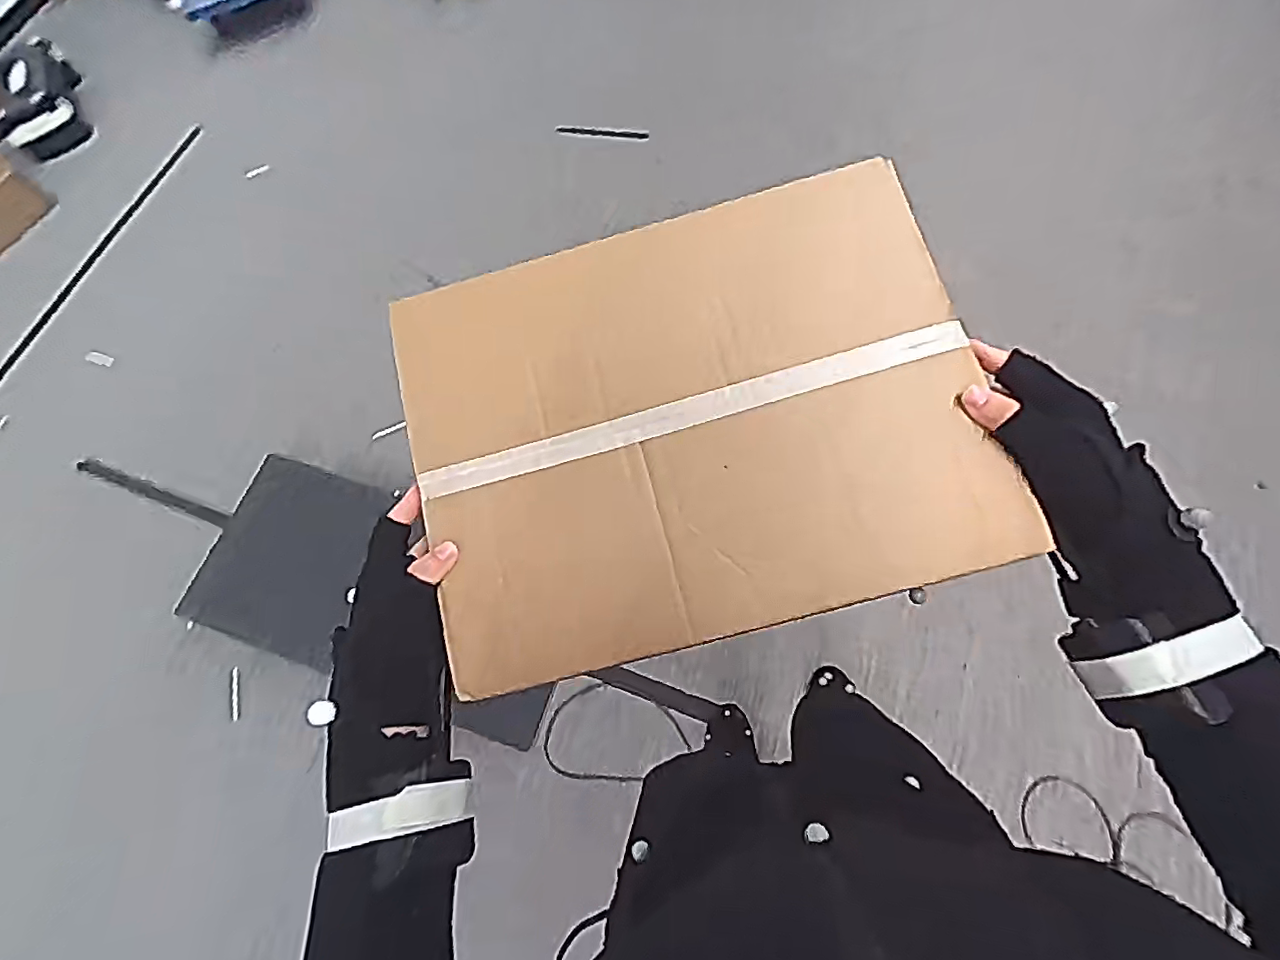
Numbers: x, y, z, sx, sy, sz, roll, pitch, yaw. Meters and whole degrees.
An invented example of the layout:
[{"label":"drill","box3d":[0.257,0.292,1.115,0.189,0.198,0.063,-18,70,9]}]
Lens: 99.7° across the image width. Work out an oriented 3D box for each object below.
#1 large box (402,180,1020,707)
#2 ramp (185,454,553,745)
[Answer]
[{"label":"large box","box3d":[0.048,-0.011,0.551,0.408,0.320,0.320,-17,77,3]},{"label":"ramp","box3d":[-0.662,0.293,1.466,0.991,0.206,0.509,14,71,14]}]
